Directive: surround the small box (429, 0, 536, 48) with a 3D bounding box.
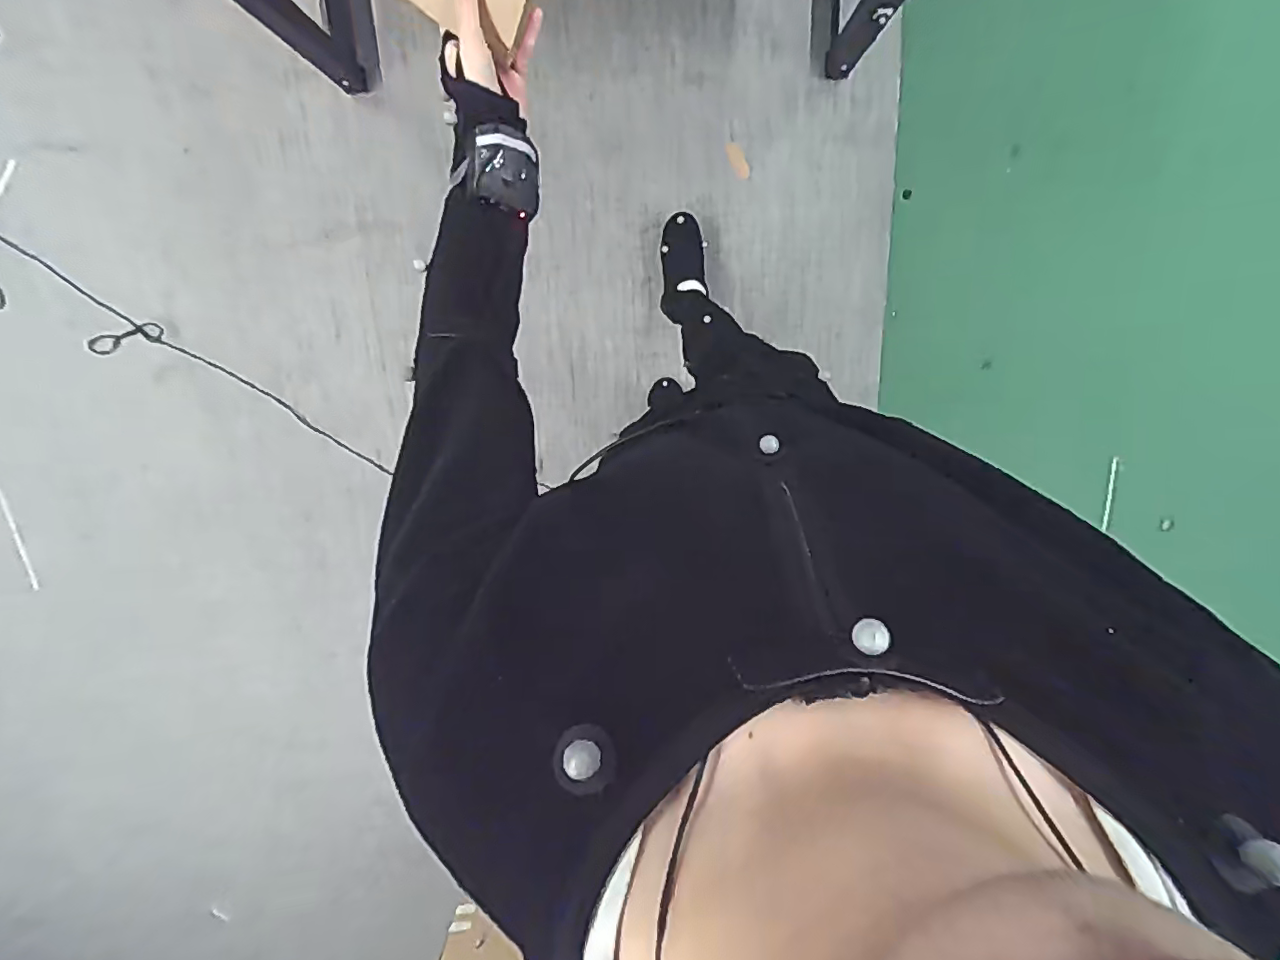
[{"bbox_3d":[-0.137,-0.512,0.429,0.179,0.176,0.168,27,148,-20],"label":"small box"}]

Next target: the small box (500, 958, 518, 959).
[{"bbox_3d":[-0.302,1.349,1.350,0.168,0.176,0.179,8,103,-3],"label":"small box"}]
